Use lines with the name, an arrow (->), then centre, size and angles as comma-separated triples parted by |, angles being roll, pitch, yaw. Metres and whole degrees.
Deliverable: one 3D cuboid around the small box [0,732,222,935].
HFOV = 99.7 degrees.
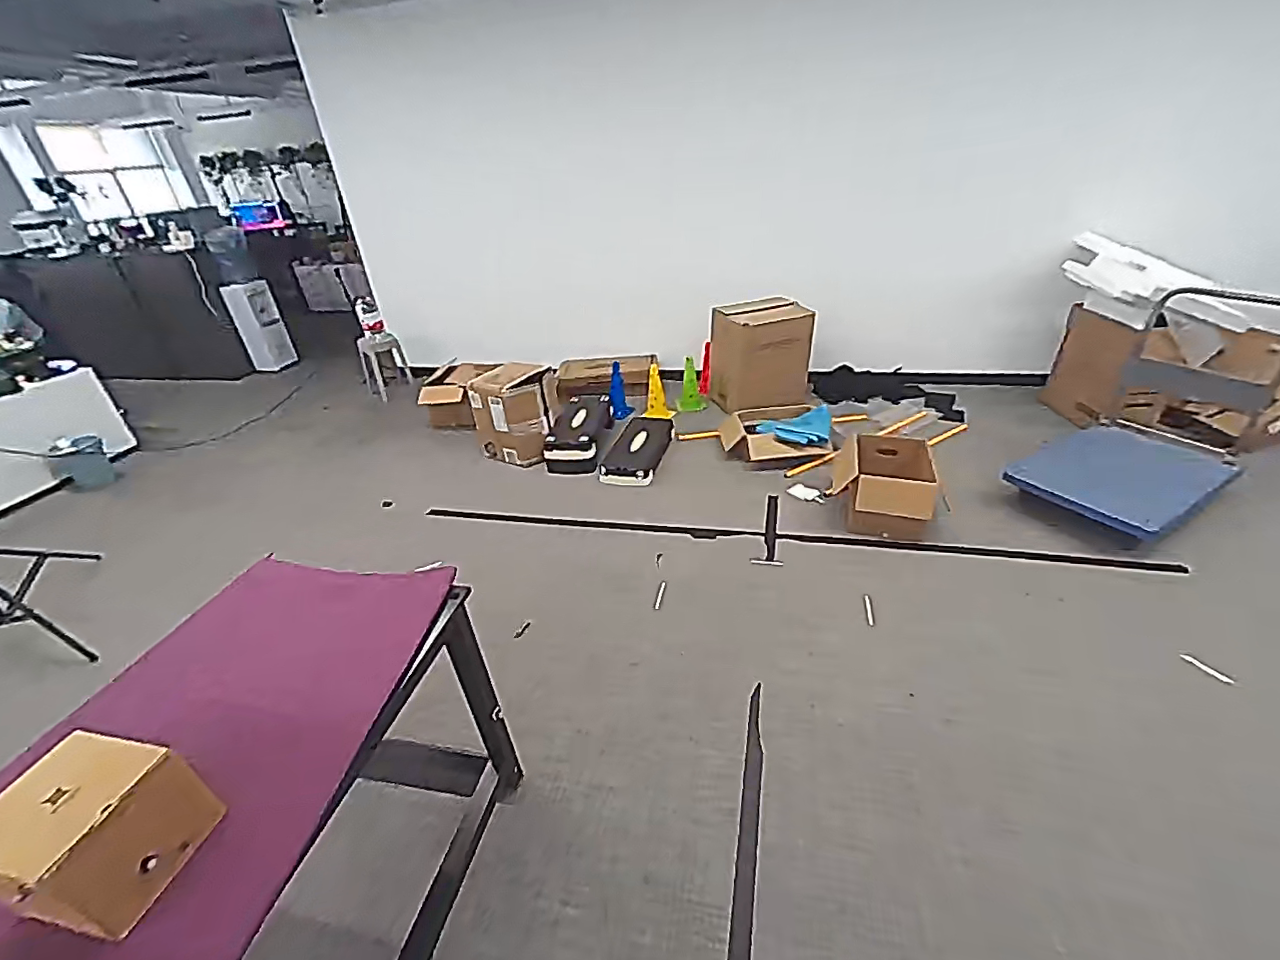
small box -> -0.740, 0.479, 0.739 | 0.179, 0.176, 0.168 | 3, 32, 12
